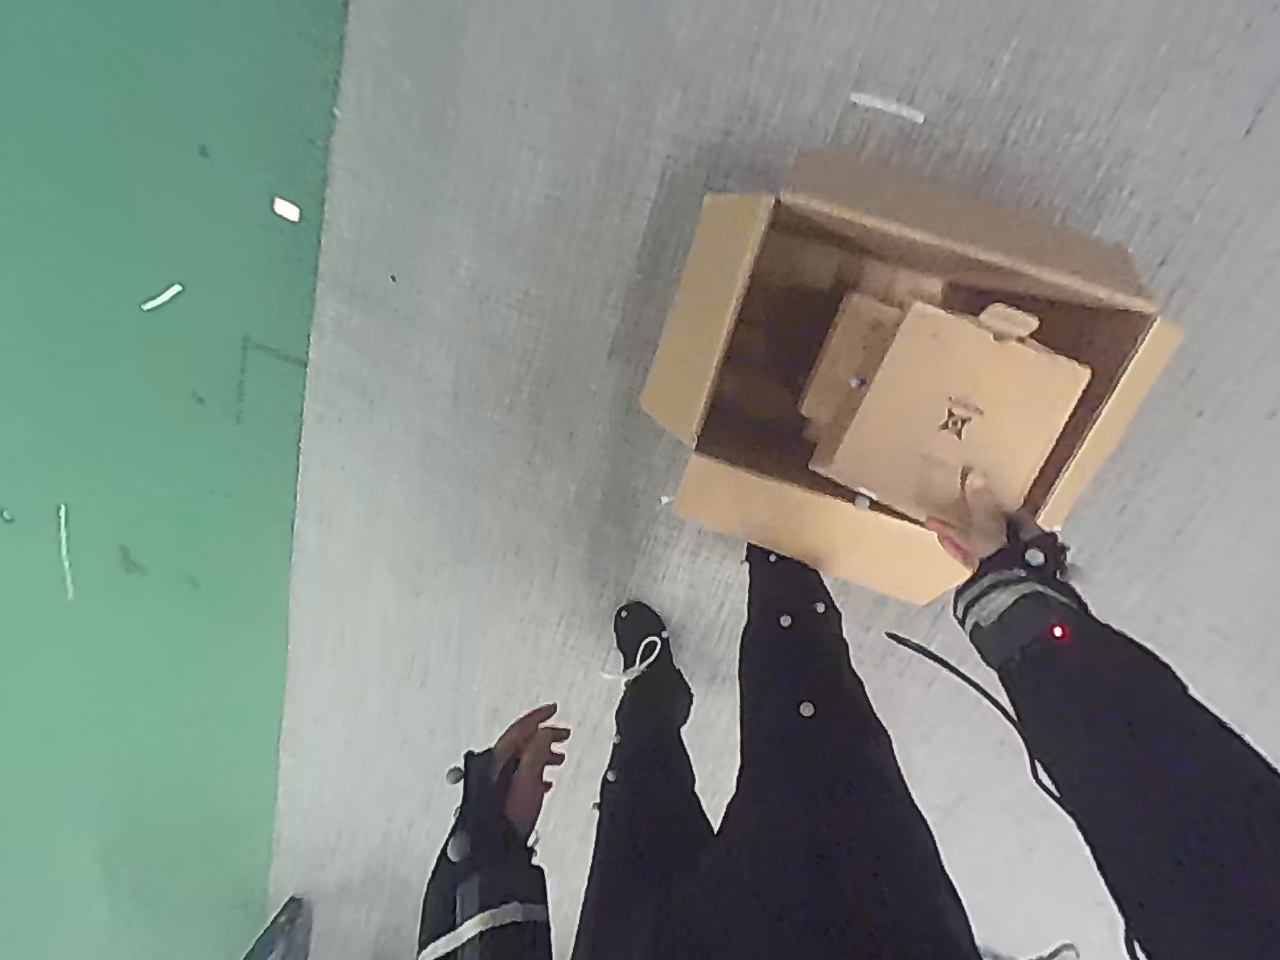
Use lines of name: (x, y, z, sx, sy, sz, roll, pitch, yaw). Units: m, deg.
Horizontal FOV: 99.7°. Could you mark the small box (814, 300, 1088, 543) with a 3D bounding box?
small box: (0.300, -0.055, 0.570, 0.168, 0.176, 0.179, 26, 95, 10)
